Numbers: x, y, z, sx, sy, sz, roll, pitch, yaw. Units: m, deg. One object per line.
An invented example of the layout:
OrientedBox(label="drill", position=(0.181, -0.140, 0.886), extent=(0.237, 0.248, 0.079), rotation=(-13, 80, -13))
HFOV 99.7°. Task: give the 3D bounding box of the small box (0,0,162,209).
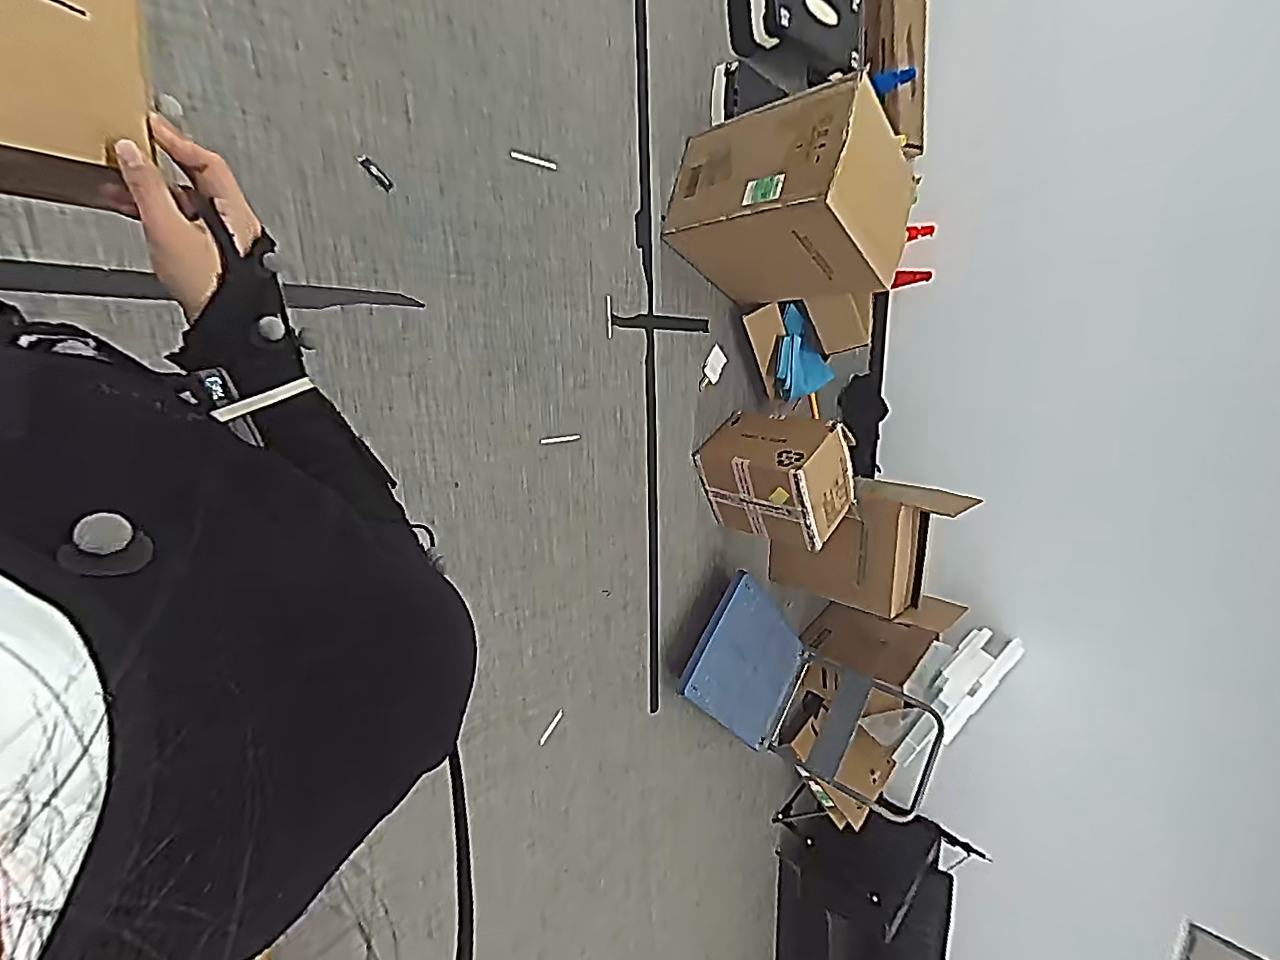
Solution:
OrientedBox(label="small box", position=(-0.415, -0.279, 0.327), extent=(0.179, 0.176, 0.168), rotation=(-6, 106, -39))
